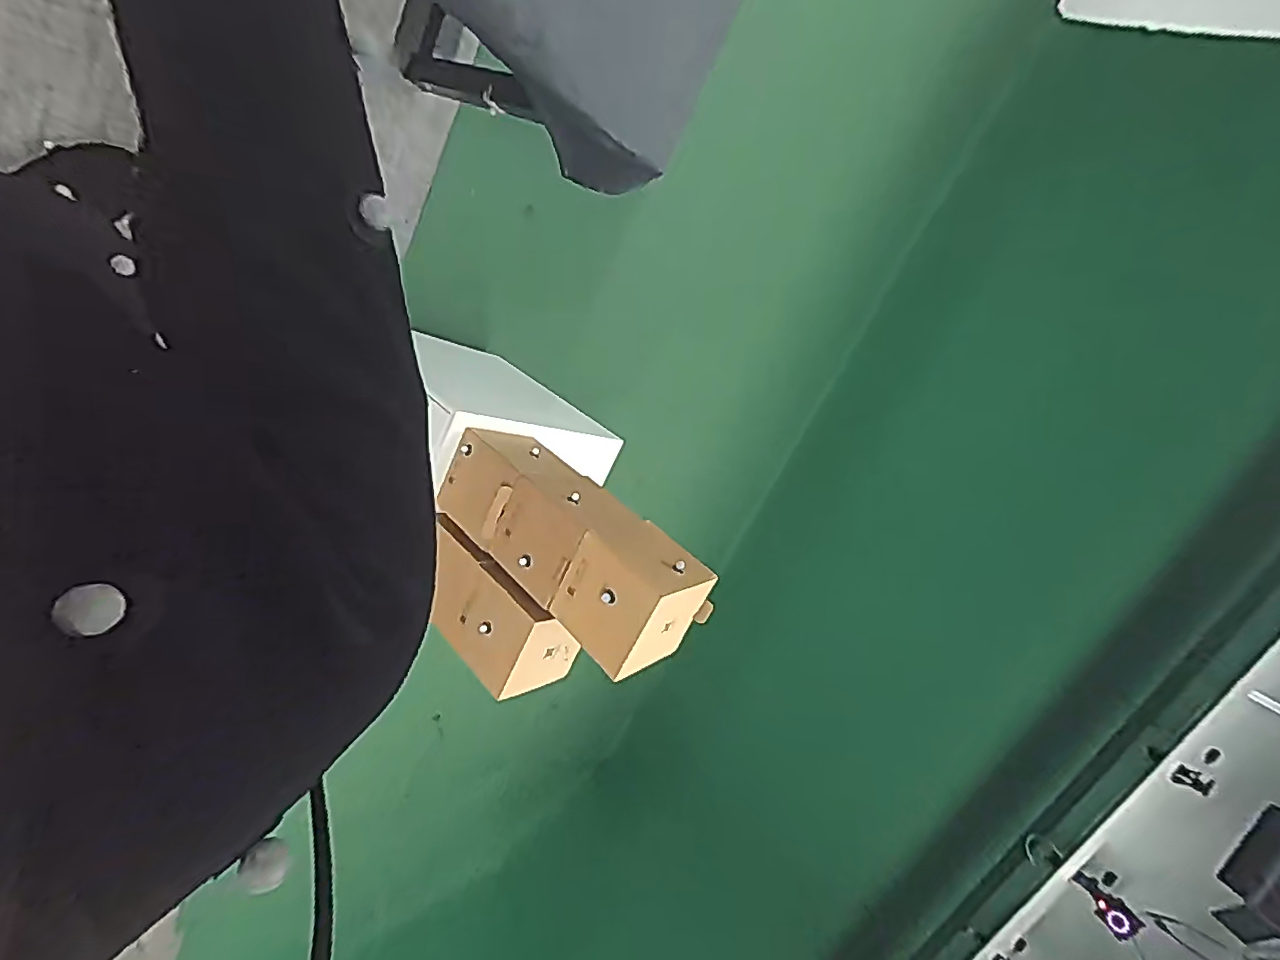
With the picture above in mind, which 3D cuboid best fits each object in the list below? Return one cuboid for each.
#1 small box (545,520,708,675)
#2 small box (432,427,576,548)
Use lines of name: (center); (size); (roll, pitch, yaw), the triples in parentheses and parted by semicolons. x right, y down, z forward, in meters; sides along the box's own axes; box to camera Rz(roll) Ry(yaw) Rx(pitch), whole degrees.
small box: (-0.026, 0.180, 0.888); (0.179, 0.176, 0.168); (-2, 124, -56)
small box: (-0.263, 0.012, 1.033); (0.179, 0.176, 0.168); (4, 118, -58)
